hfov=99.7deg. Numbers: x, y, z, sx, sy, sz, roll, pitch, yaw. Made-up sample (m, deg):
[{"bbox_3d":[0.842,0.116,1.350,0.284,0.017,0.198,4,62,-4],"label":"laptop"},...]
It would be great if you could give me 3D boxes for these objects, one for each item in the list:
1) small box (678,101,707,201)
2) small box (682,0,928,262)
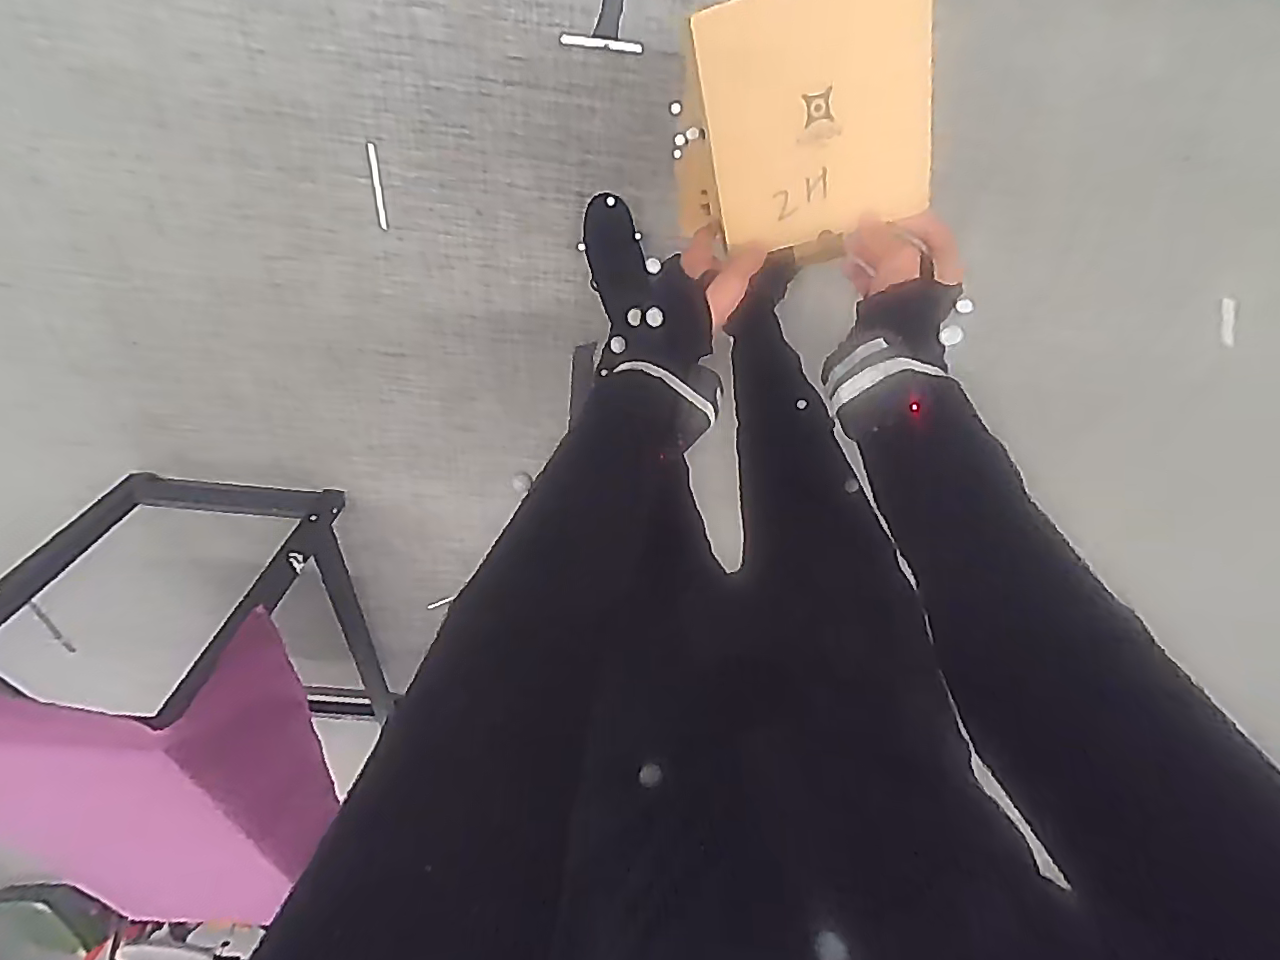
[{"bbox_3d":[0.150,-0.498,0.764,0.168,0.176,0.179,8,129,-6],"label":"small box"},{"bbox_3d":[0.135,-0.324,0.482,0.168,0.176,0.179,-11,128,11],"label":"small box"}]
